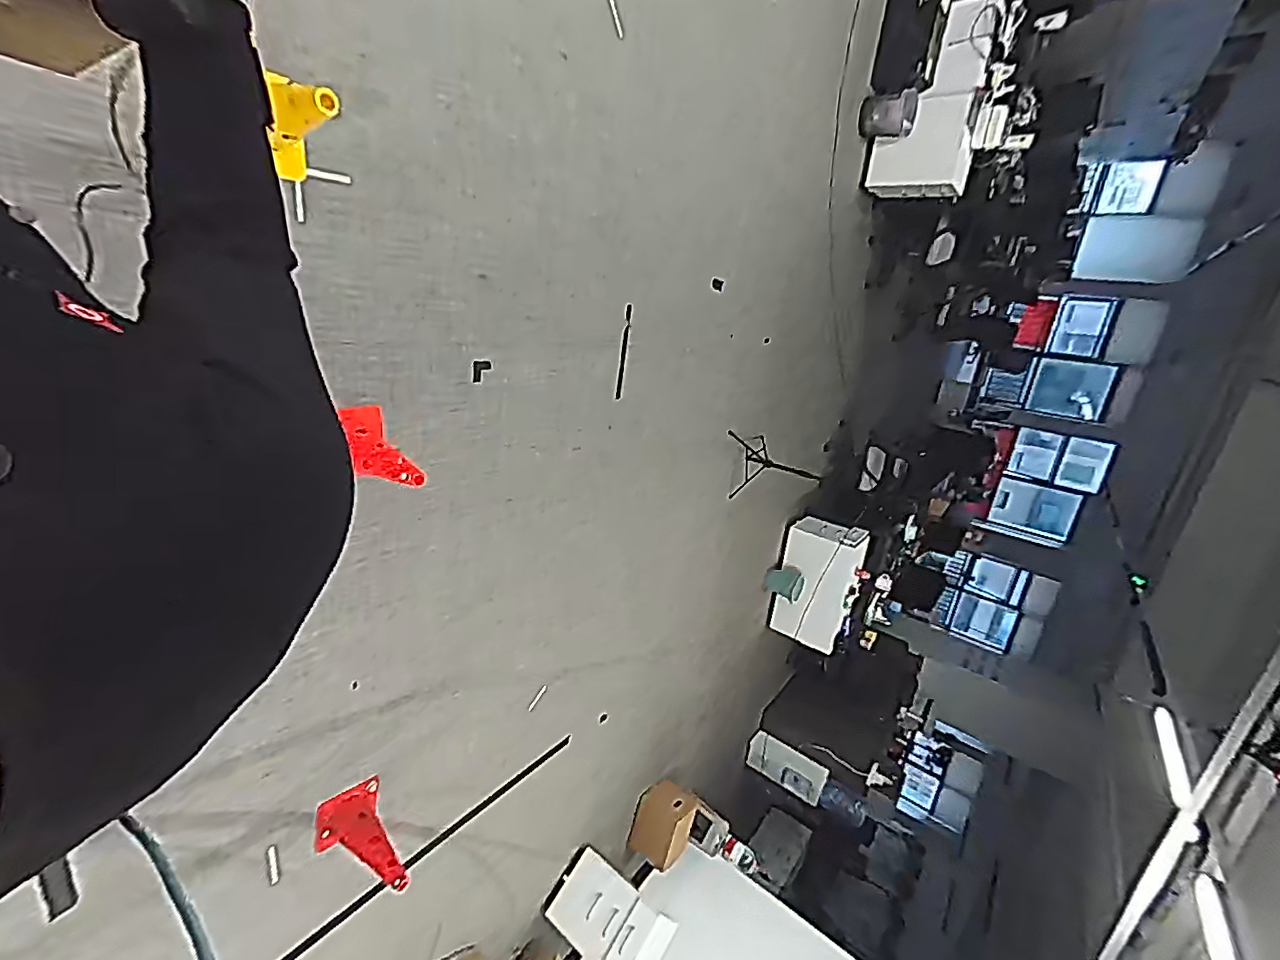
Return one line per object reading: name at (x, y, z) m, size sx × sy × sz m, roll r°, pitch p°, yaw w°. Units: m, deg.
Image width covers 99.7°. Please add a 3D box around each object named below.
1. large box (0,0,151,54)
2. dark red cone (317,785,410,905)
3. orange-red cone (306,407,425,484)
large box at (-0.541, -0.478, 0.247) m, size 0.408 × 0.320 × 0.320 m, roll -13°, pitch 120°, yaw -52°
dark red cone at (-0.849, 1.191, 1.722) m, size 0.201 × 0.394 × 0.202 m, roll -7°, pitch 111°, yaw -52°
orange-red cone at (-0.672, -0.054, 1.393) m, size 0.198 × 0.360 × 0.199 m, roll -20°, pitch 121°, yaw -50°
